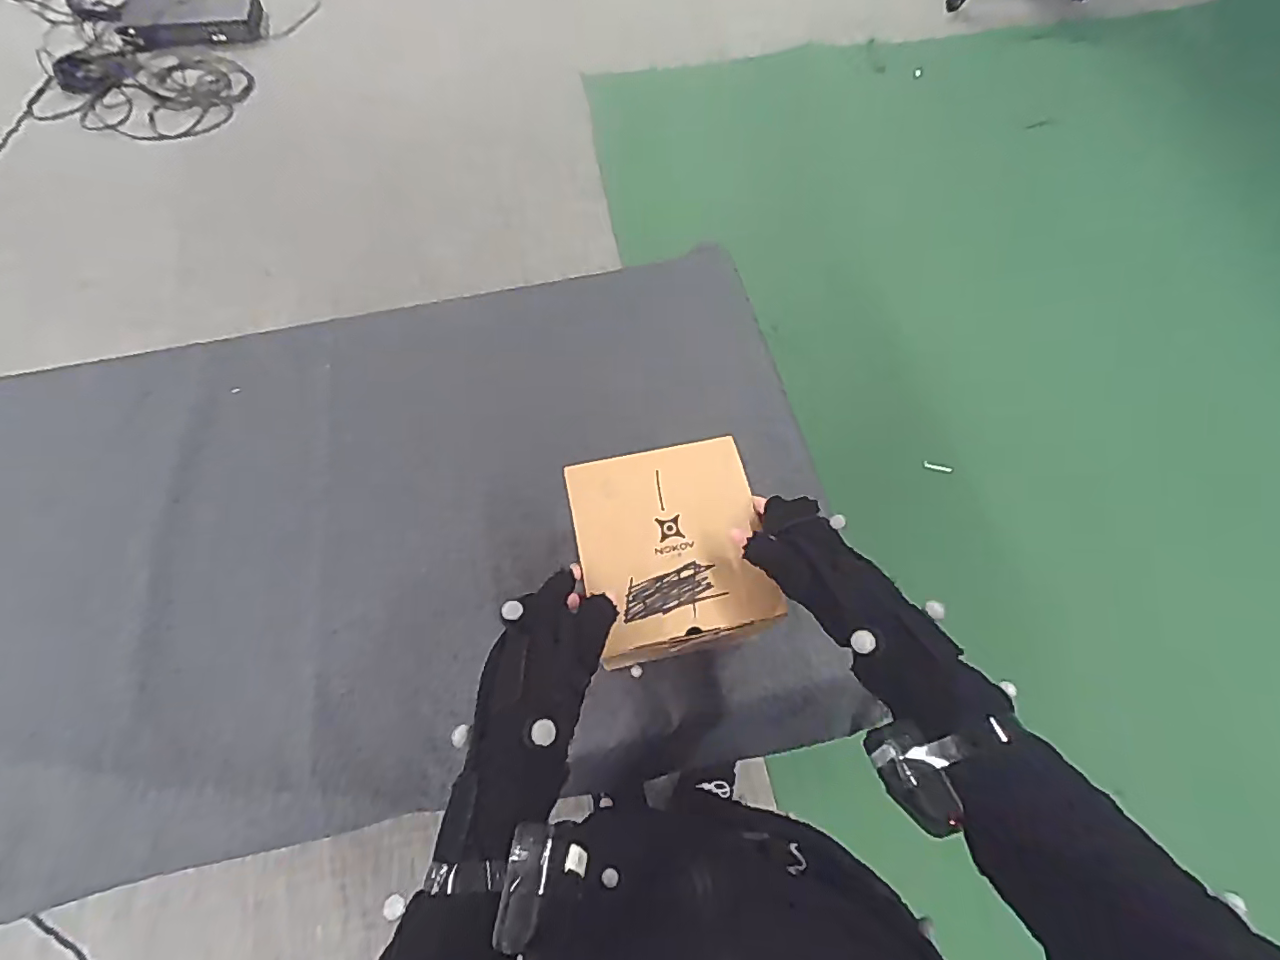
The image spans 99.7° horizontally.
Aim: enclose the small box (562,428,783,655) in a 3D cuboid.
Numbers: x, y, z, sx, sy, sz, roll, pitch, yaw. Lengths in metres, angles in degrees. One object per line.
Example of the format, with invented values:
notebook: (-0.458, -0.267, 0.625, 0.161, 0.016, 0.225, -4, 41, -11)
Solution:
small box: (0.025, 0.074, 0.550, 0.168, 0.176, 0.179, -12, 68, -5)
